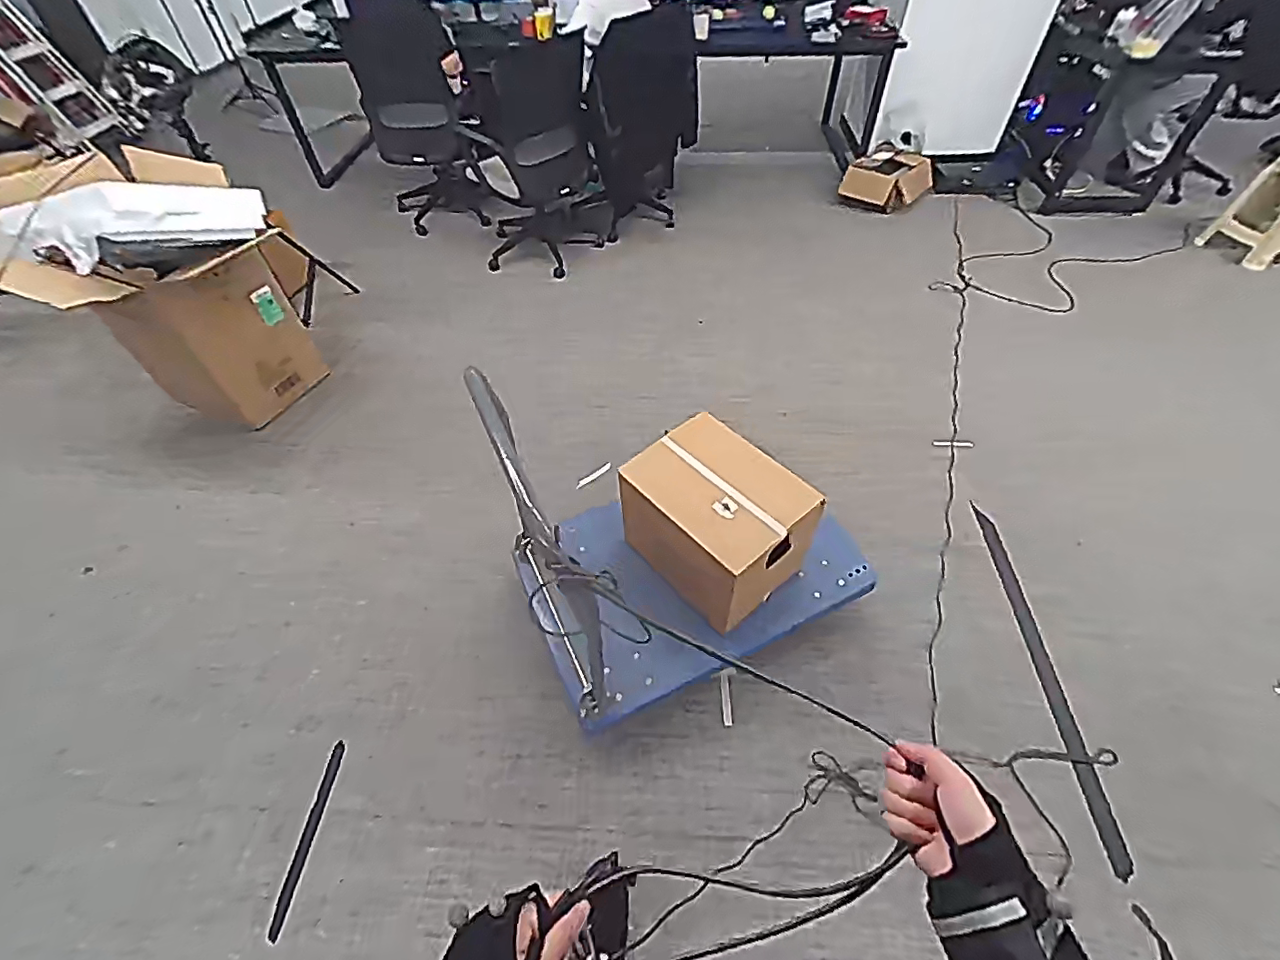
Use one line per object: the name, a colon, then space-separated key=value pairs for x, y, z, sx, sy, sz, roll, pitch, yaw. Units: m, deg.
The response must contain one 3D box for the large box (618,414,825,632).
large box: x=0.189 y=0.105 z=1.400 sx=0.320 sy=0.320 sz=0.408 roll=-35 pitch=59 yaw=-23
